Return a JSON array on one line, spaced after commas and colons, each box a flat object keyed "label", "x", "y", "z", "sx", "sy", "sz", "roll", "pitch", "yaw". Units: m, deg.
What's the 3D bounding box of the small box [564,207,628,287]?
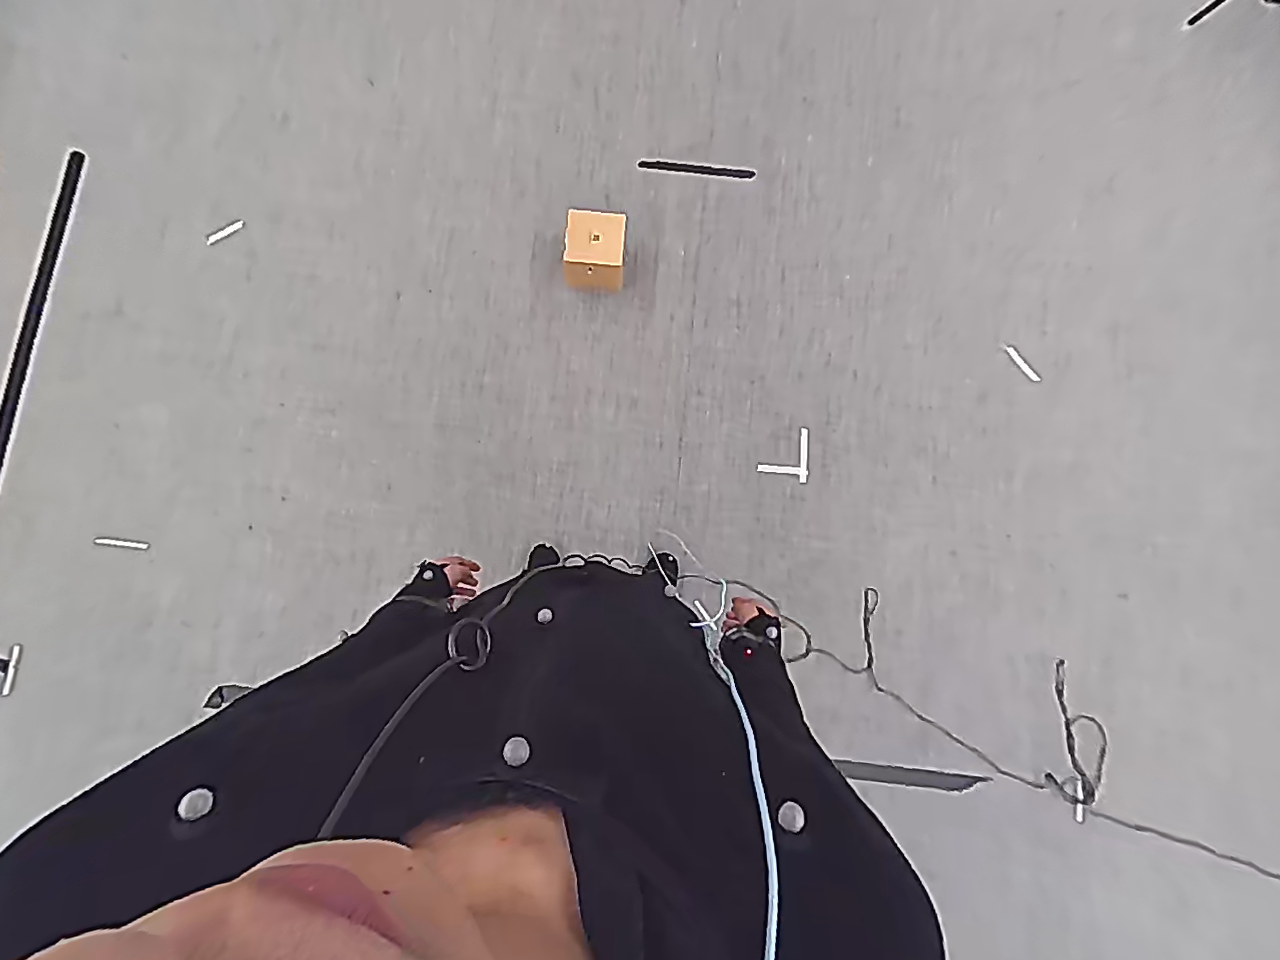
[{"label": "small box", "x": -0.132, "y": -0.719, "z": 1.682, "sx": 0.179, "sy": 0.176, "sz": 0.168, "roll": 5, "pitch": 84, "yaw": 0}]
